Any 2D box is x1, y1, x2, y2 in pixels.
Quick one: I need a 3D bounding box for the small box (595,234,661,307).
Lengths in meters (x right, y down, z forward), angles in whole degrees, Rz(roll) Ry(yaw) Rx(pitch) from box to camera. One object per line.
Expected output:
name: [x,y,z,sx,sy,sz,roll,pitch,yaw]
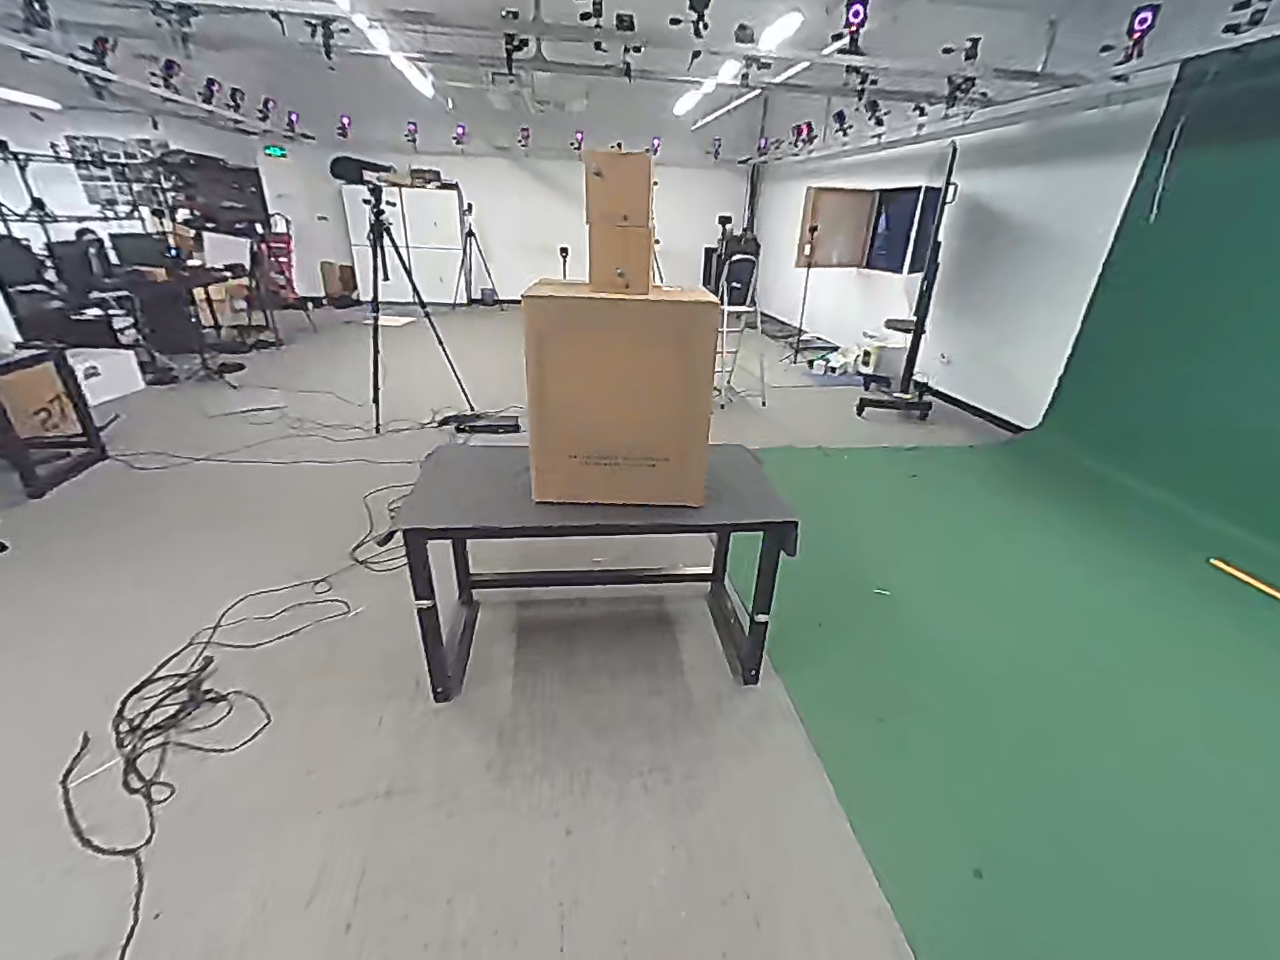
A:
small box: [-0.033,-0.591,1.521,0.168,0.176,0.179,4,27,3]
